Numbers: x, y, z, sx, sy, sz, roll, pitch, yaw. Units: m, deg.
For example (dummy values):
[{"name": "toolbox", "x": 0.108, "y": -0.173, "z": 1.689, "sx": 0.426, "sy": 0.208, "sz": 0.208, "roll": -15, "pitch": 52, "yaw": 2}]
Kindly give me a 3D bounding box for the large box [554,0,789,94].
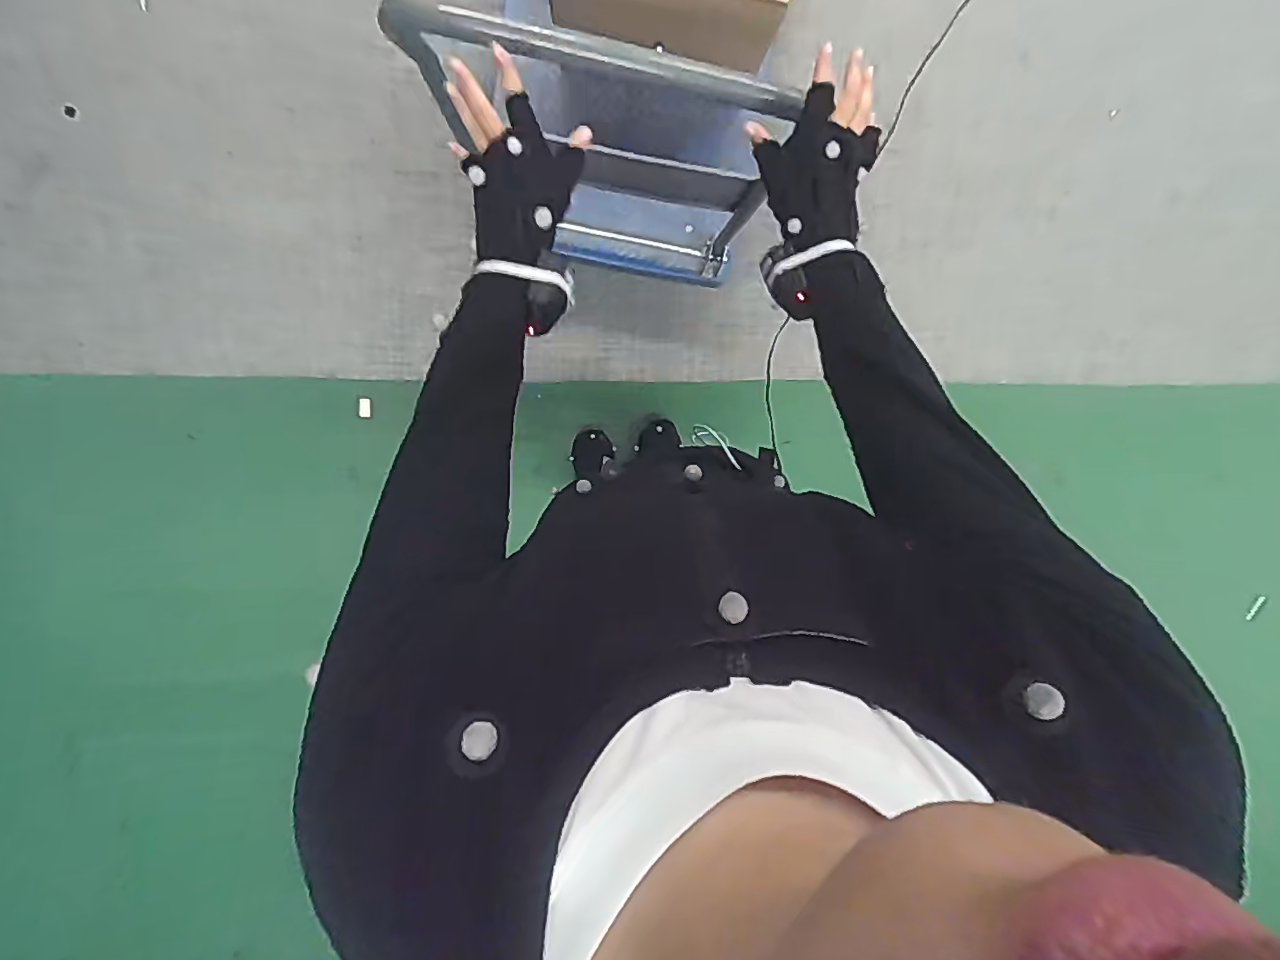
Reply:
[{"name": "large box", "x": 0.062, "y": -0.983, "z": 0.997, "sx": 0.408, "sy": 0.320, "sz": 0.320, "roll": 7, "pitch": 98, "yaw": -4}]
